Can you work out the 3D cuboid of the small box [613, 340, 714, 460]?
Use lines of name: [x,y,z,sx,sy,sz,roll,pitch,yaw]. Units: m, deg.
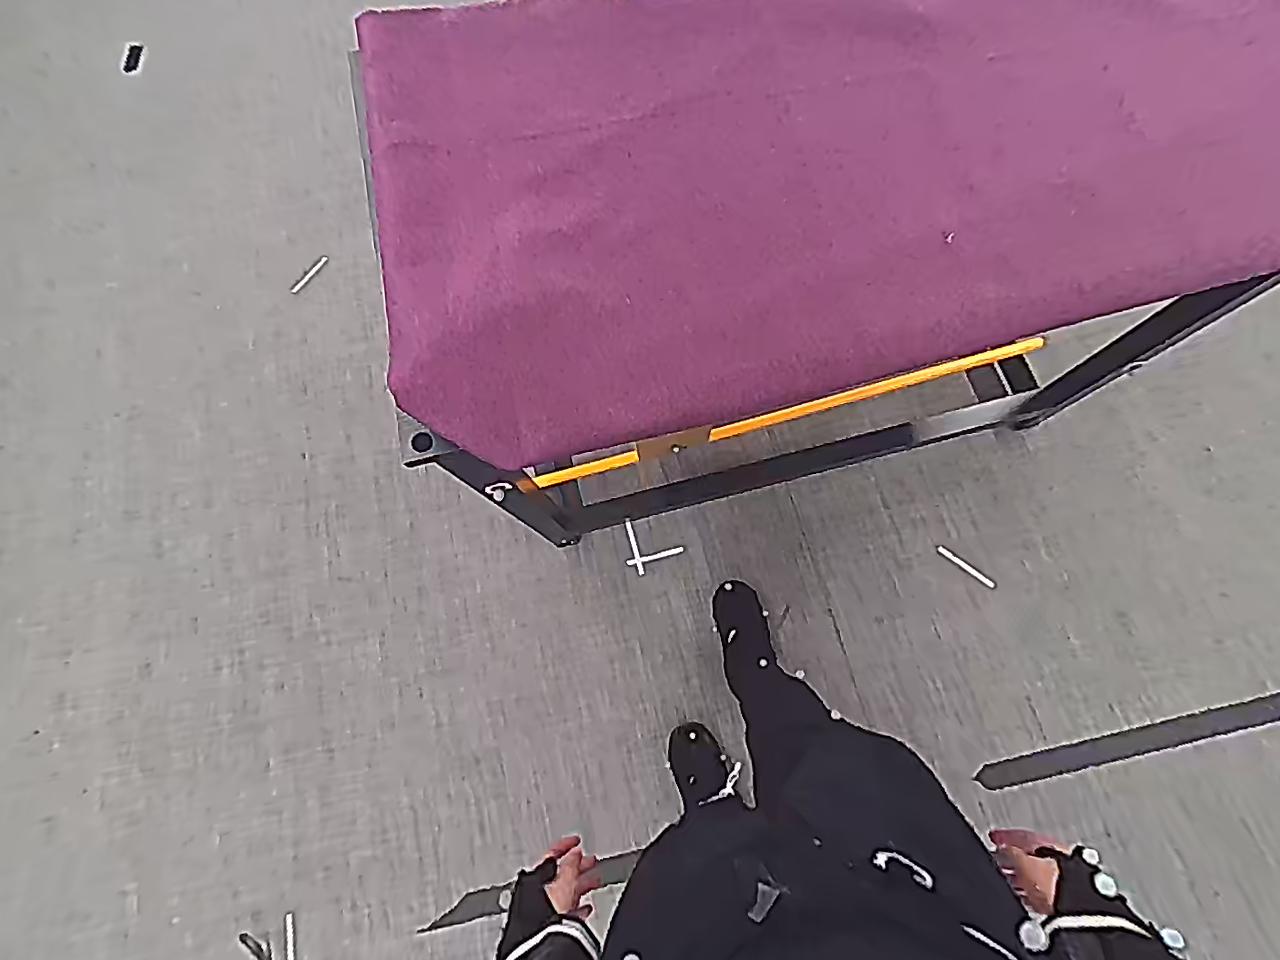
small box: [0.047,-0.164,1.153,0.168,0.176,0.179,-17,76,-1]
